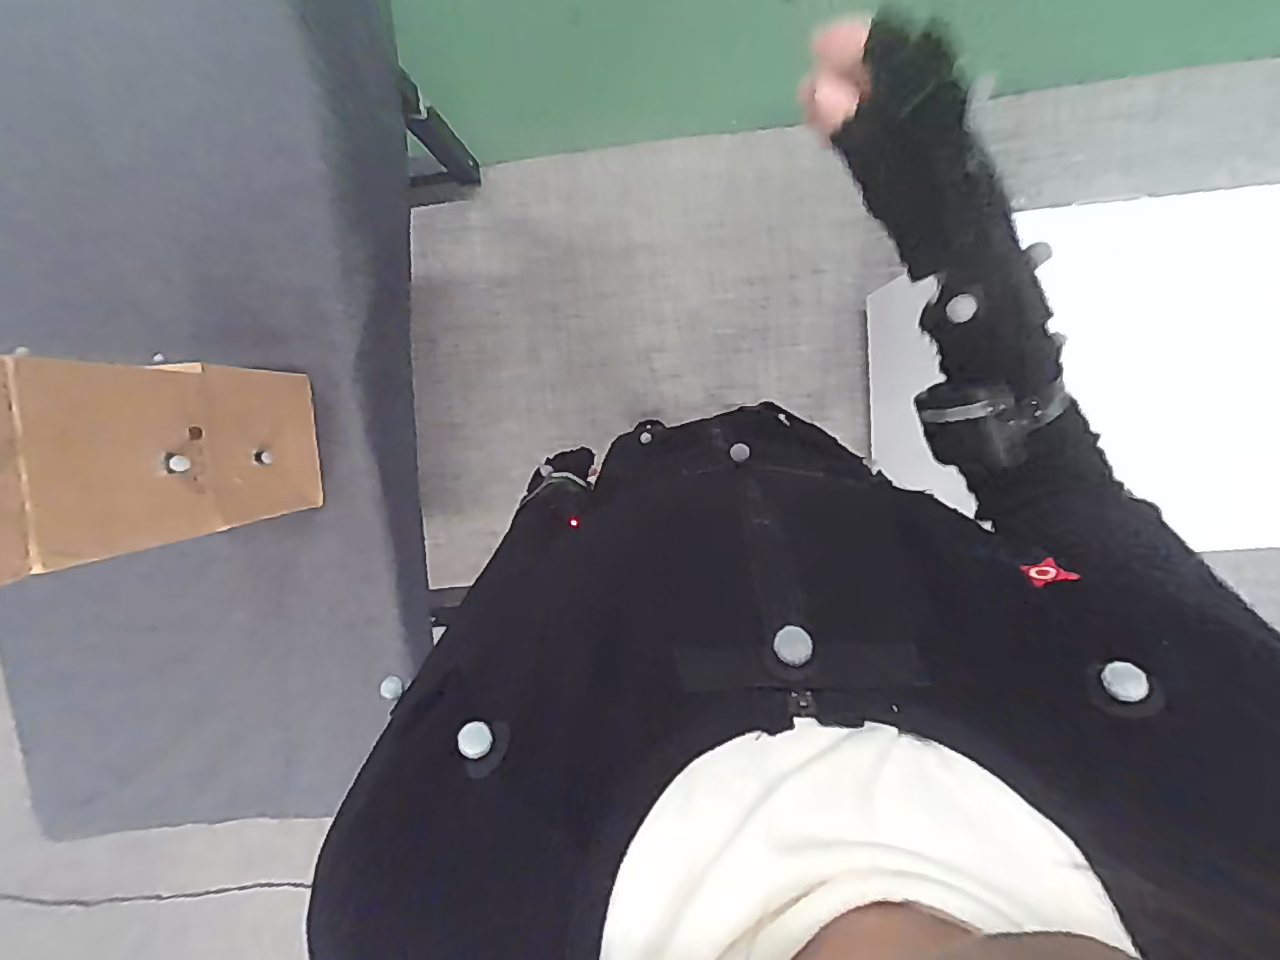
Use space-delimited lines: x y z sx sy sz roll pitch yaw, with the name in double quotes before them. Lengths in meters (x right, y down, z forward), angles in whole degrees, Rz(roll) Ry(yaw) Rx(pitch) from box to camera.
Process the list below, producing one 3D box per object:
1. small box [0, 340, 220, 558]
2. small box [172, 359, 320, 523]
"small box" -0.538 -0.029 0.492 0.179 0.176 0.168 -2 97 7
"small box" -0.520 -0.050 0.654 0.168 0.176 0.179 -2 98 5
